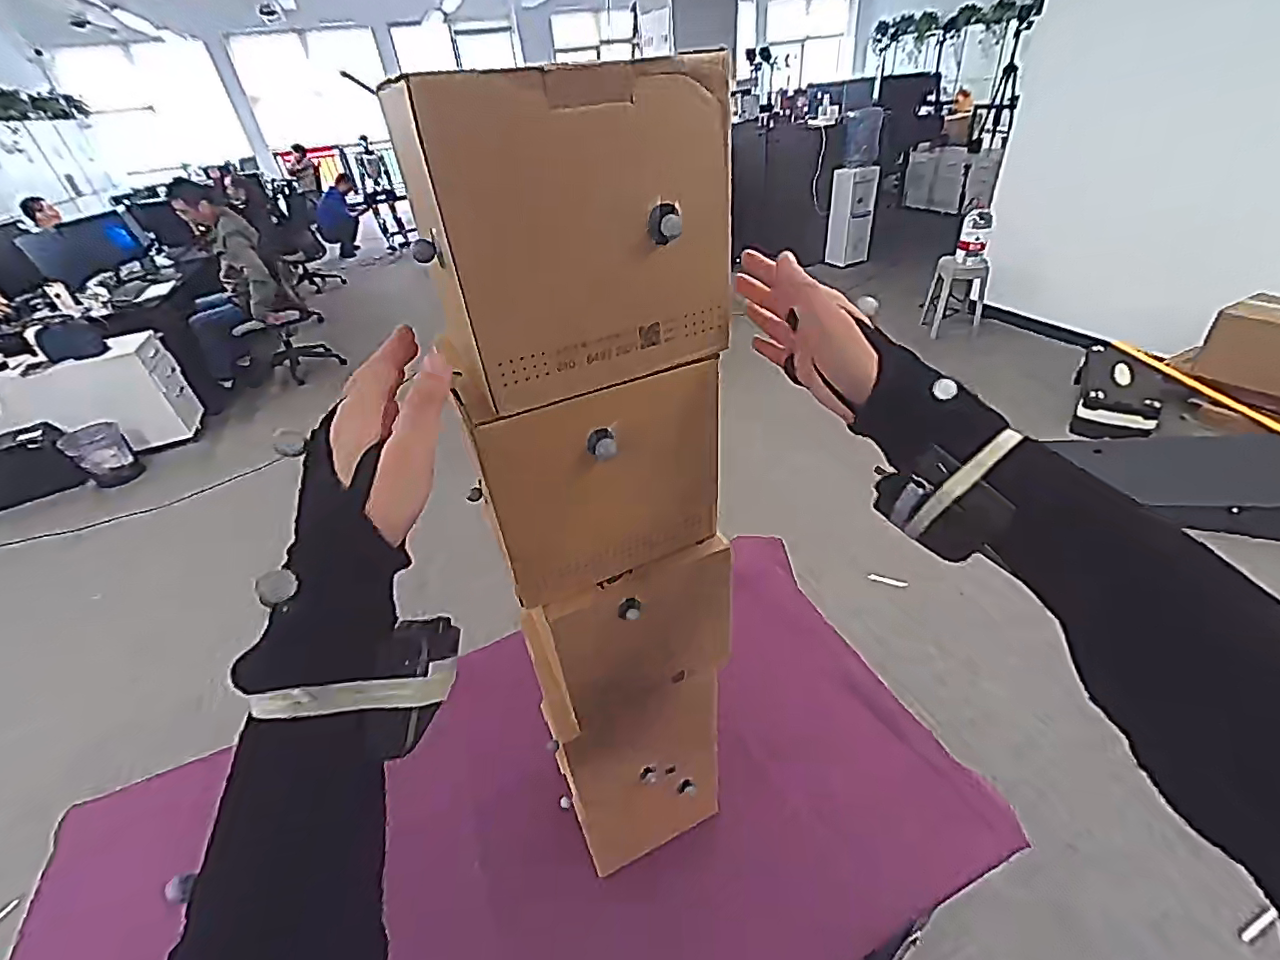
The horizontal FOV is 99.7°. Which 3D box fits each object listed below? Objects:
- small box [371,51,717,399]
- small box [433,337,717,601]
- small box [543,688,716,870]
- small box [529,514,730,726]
[{"bbox_3d":[-0.060,-0.168,0.364,0.168,0.176,0.179,-20,37,-19],"label":"small box"},{"bbox_3d":[-0.052,-0.033,0.454,0.179,0.176,0.168,-20,38,-18],"label":"small box"},{"bbox_3d":[-0.013,0.372,0.727,0.179,0.176,0.168,-20,37,-16],"label":"small box"},{"bbox_3d":[-0.026,0.102,0.542,0.168,0.176,0.179,-19,37,-17],"label":"small box"}]
